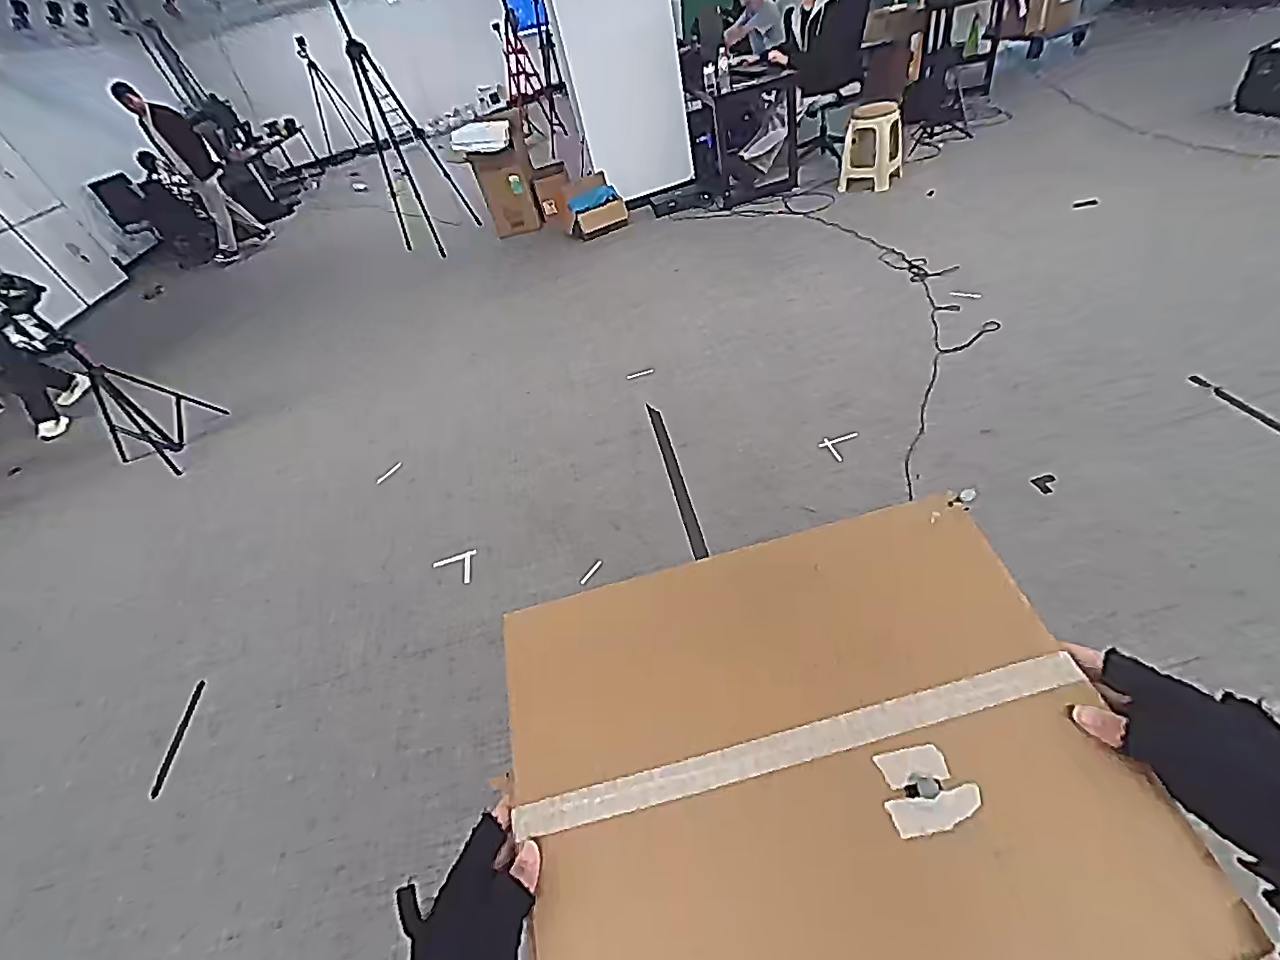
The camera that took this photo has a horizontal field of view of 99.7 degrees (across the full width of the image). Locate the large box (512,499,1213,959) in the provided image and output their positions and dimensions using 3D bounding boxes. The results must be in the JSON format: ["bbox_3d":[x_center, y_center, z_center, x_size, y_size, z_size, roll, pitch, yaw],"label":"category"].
[{"bbox_3d":[0.131,0.273,0.515,0.408,0.320,0.320,-15,55,-1],"label":"large box"}]
